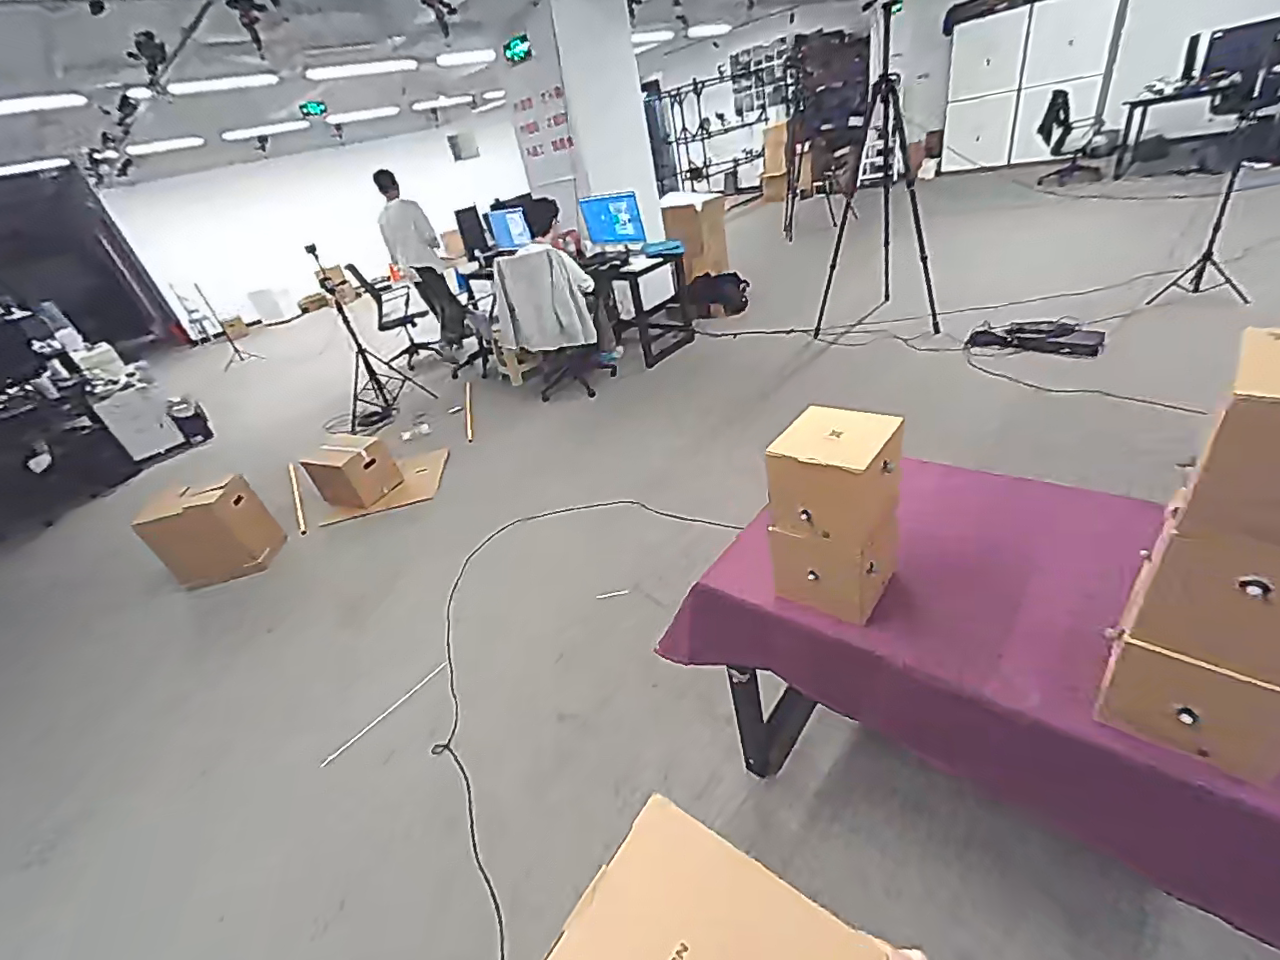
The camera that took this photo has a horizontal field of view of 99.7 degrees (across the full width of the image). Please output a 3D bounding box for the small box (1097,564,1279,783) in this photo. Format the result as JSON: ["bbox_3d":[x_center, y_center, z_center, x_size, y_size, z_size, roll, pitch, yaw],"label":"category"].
[{"bbox_3d":[0.730,0.247,0.706,0.168,0.176,0.179,19,44,40],"label":"small box"}]

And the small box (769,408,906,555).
[{"bbox_3d":[0.339,-0.002,0.933,0.168,0.176,0.179,16,43,39],"label":"small box"}]

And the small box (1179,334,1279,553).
[{"bbox_3d":[0.677,-0.029,0.535,0.168,0.176,0.179,19,45,41],"label":"small box"}]

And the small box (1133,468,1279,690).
[{"bbox_3d":[0.705,0.112,0.616,0.179,0.176,0.168,20,45,41],"label":"small box"}]
